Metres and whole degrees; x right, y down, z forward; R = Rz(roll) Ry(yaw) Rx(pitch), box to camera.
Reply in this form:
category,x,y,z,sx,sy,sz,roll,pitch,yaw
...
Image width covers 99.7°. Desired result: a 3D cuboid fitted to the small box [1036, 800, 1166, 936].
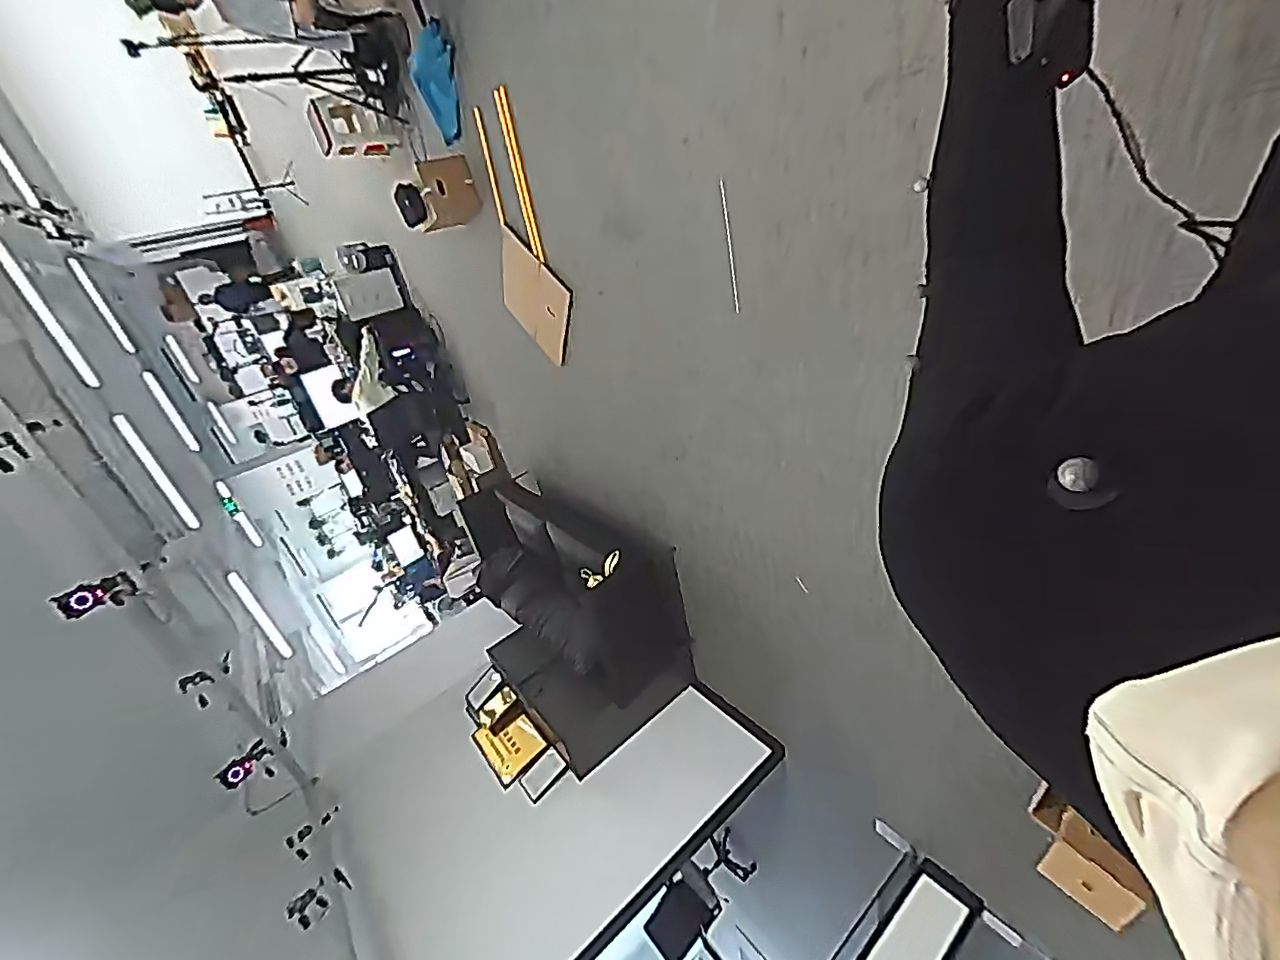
category,x,y,z,sx,sy,sz,roll,pitch,yaw
small box,1.080,0.900,1.267,0.168,0.176,0.179,33,143,43

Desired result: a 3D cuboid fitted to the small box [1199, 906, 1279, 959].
category,x,y,z,sx,sy,sz,roll,pitch,yaw
small box,1.260,1.010,1.075,0.168,0.176,0.179,33,141,43

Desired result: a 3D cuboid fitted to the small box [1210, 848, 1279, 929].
category,x,y,z,sx,sy,sz,roll,pitch,yaw
small box,1.389,0.939,1.147,0.179,0.176,0.168,34,142,42
